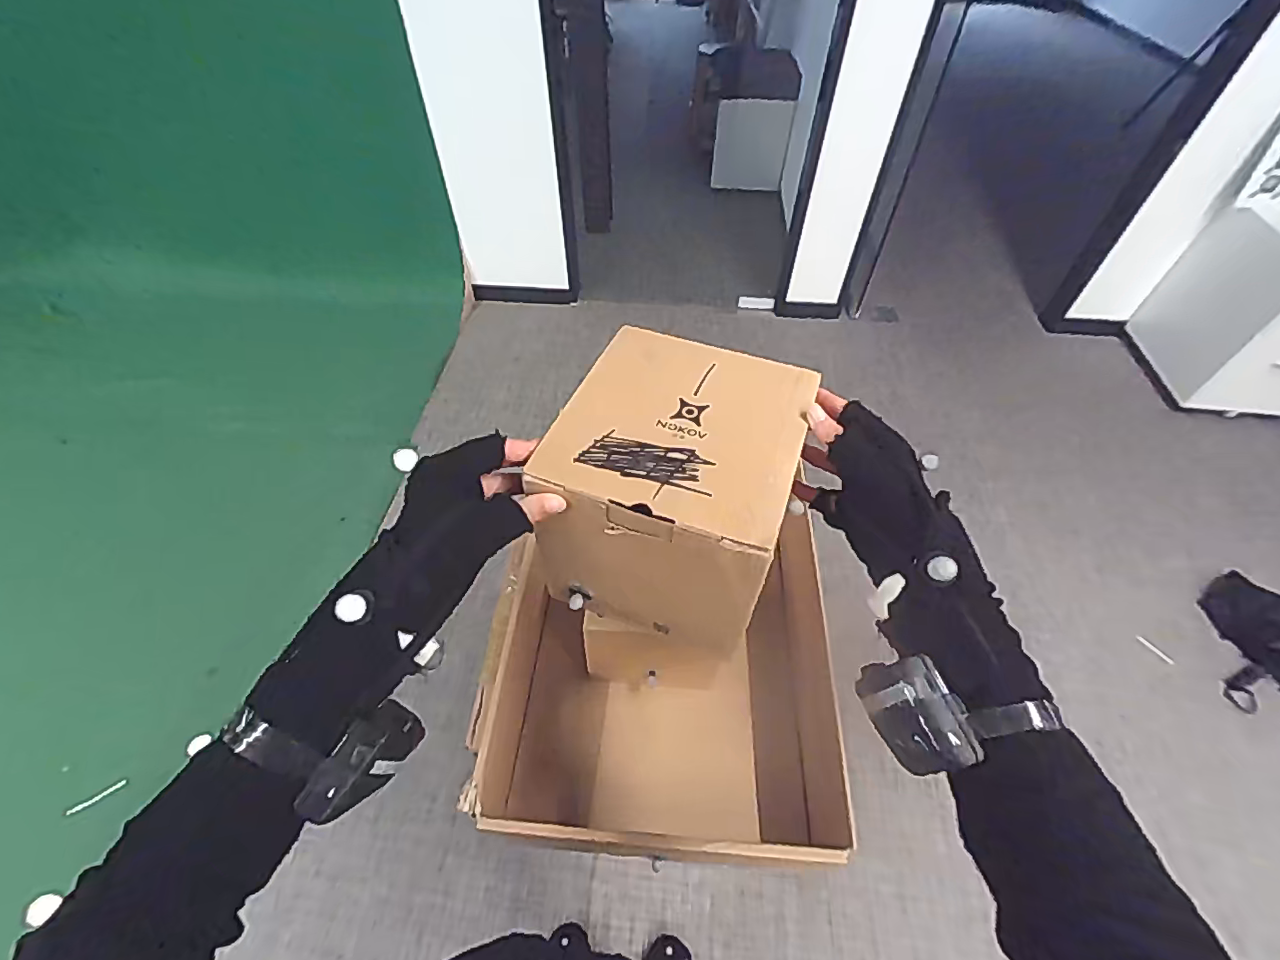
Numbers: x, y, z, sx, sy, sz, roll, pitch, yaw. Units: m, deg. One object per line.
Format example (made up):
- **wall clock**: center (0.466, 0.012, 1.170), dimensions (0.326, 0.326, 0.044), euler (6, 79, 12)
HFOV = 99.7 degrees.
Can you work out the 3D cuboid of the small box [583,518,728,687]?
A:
- **small box**: center (0.020, 0.174, 0.750), dimensions (0.179, 0.176, 0.168), euler (5, 49, 1)
